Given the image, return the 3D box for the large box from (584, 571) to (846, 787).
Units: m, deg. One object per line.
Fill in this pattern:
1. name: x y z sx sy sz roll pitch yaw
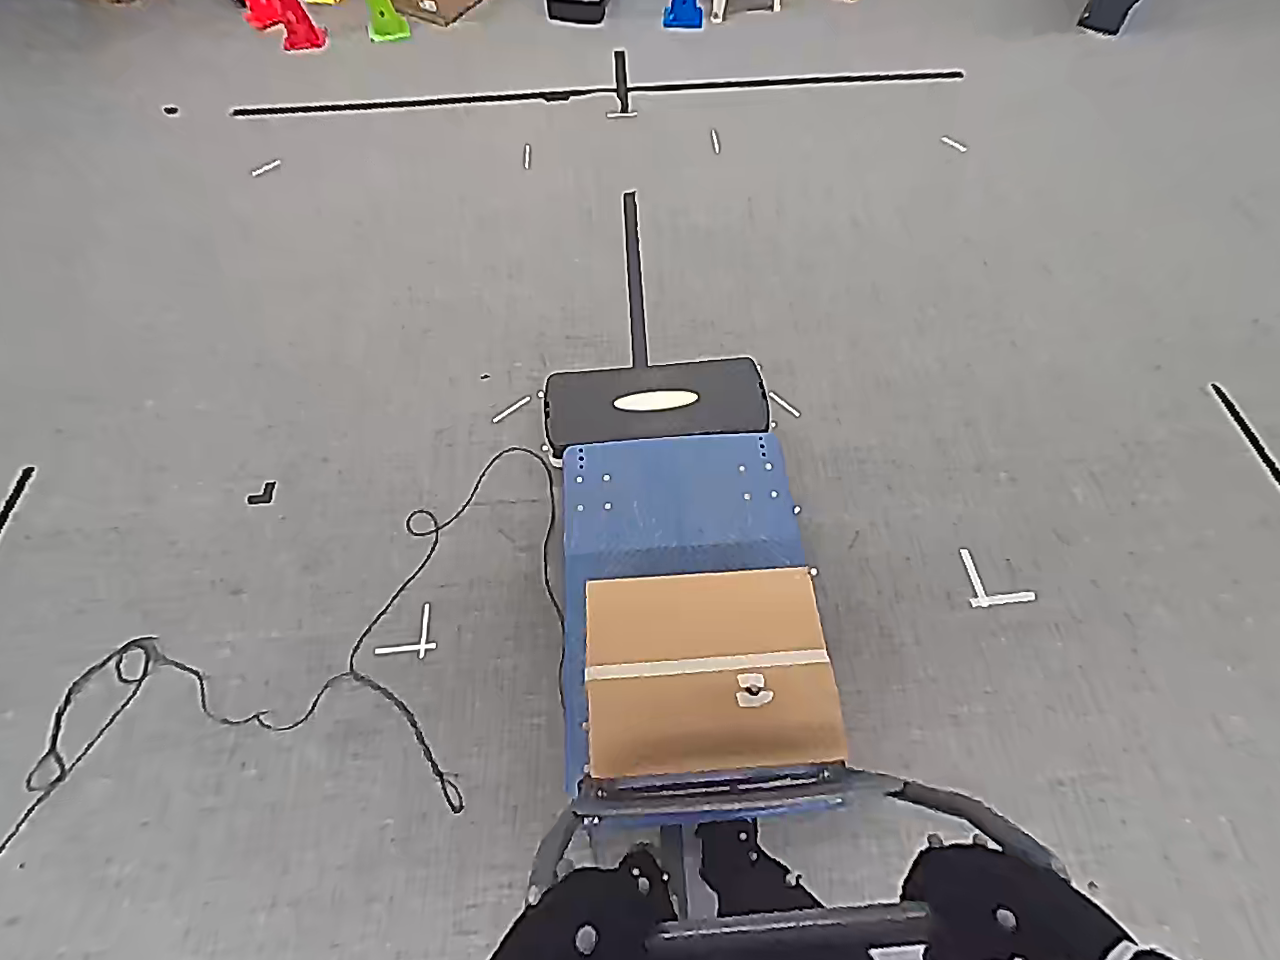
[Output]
1. large box: 0.109 0.382 1.026 0.408 0.320 0.320 -4 64 -2
